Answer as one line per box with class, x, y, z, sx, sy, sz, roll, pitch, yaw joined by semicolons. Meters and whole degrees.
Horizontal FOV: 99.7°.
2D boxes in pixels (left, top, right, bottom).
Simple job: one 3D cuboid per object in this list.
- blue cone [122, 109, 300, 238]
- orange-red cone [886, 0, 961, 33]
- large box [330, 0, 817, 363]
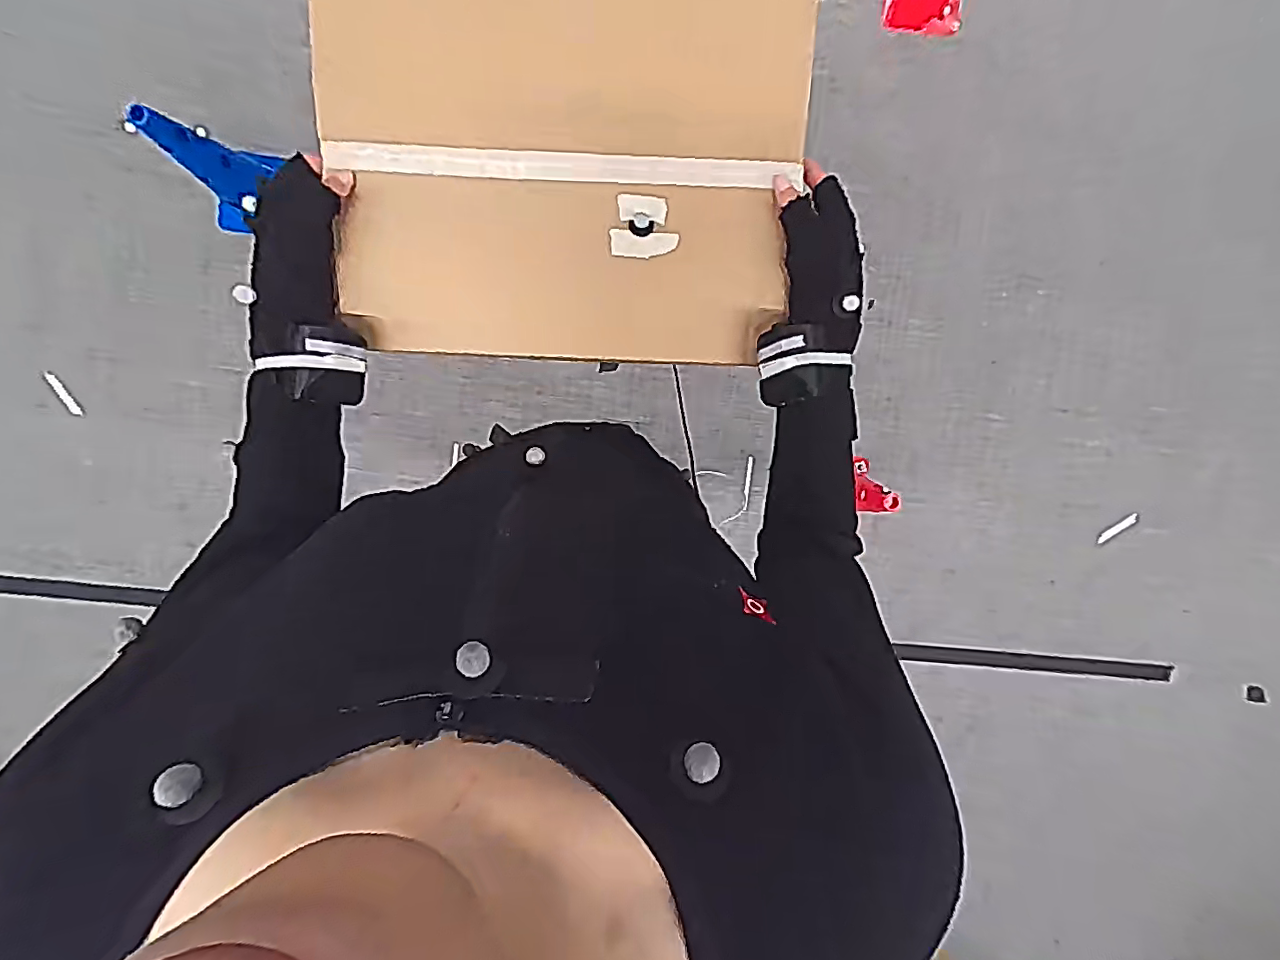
blue cone;-0.965;-0.707;1.216;0.192;0.380;0.193;9;95;-2
orange-red cone;0.741;-1.249;1.216;0.198;0.360;0.199;3;94;-3
large box;-0.063;-0.297;0.612;0.408;0.320;0.320;2;102;-3
